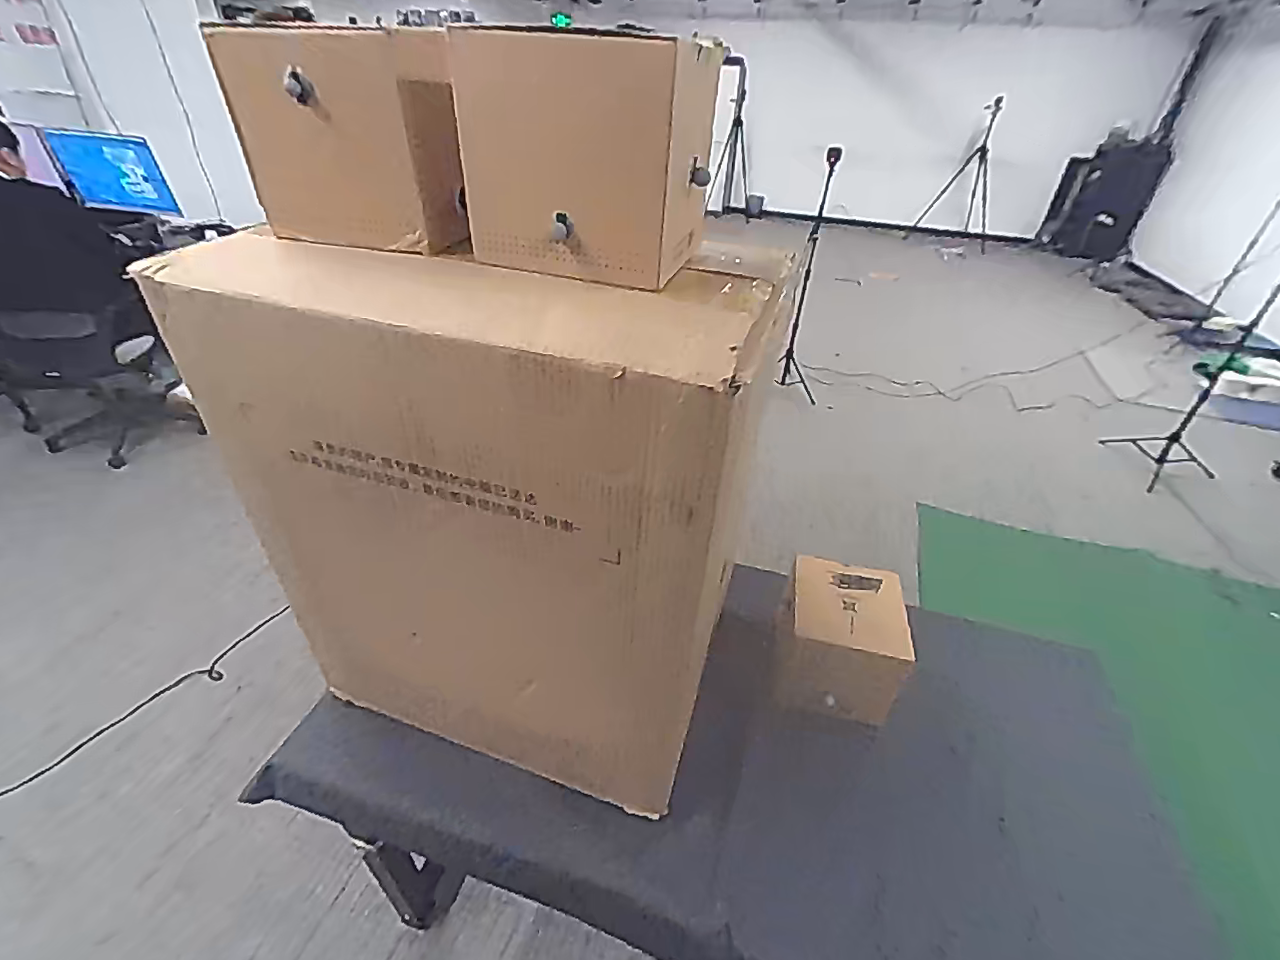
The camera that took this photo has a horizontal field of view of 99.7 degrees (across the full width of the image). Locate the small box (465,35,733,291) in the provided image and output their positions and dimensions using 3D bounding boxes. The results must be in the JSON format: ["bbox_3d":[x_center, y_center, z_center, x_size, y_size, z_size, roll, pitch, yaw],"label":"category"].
[{"bbox_3d":[-0.028,-0.283,0.488,0.179,0.176,0.168,14,38,12],"label":"small box"}]

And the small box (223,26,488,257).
[{"bbox_3d":[-0.241,-0.331,0.533,0.179,0.176,0.168,11,40,10],"label":"small box"}]
